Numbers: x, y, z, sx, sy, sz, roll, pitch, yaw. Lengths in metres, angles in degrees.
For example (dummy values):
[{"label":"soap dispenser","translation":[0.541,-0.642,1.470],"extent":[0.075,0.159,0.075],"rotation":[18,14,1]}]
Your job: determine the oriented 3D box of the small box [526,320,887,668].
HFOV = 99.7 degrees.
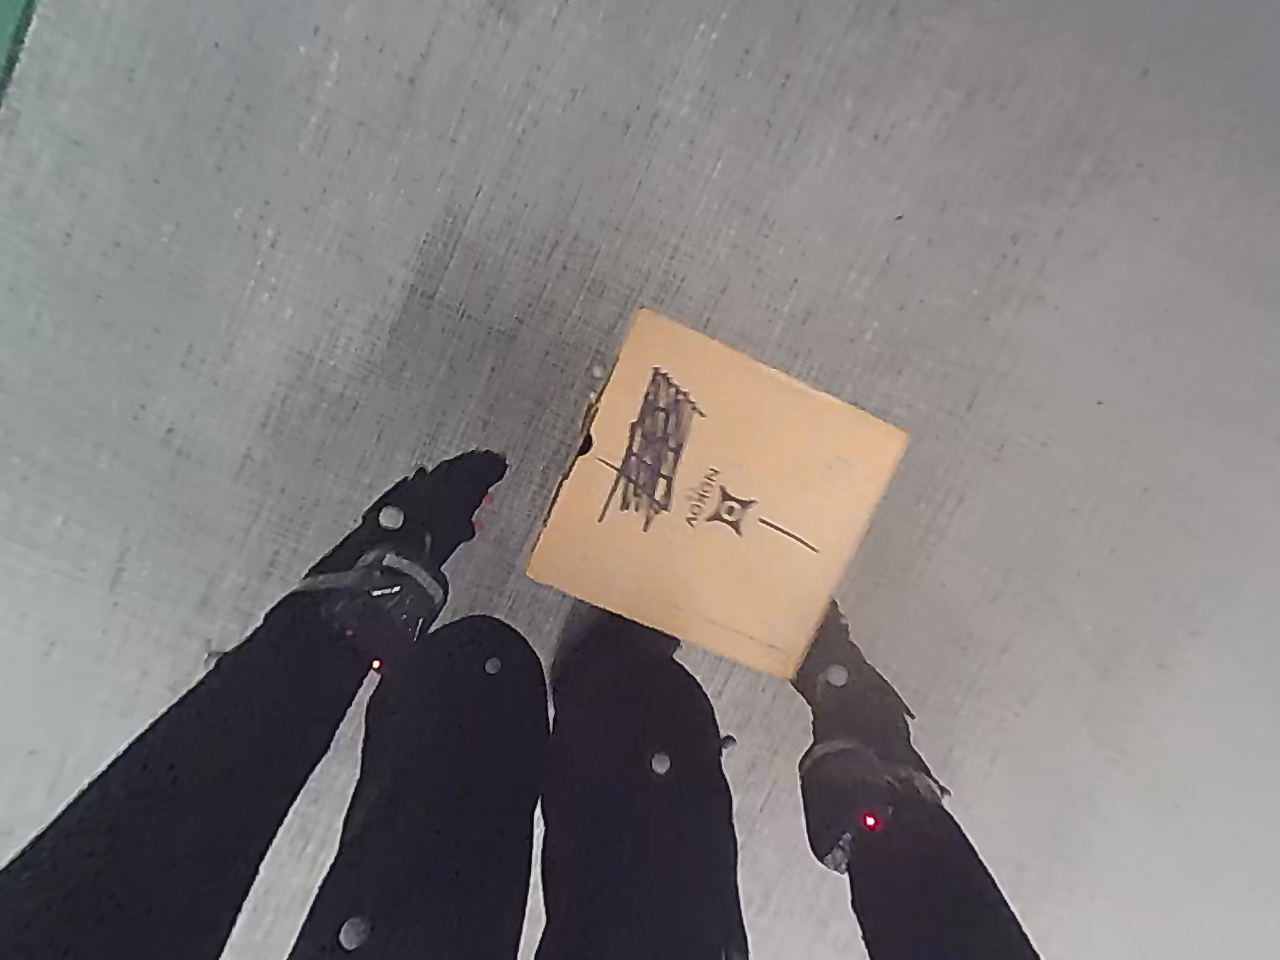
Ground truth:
[{"label":"small box","translation":[0.036,0.005,0.408],"extent":[0.179,0.176,0.168],"rotation":[24,95,-6]}]
